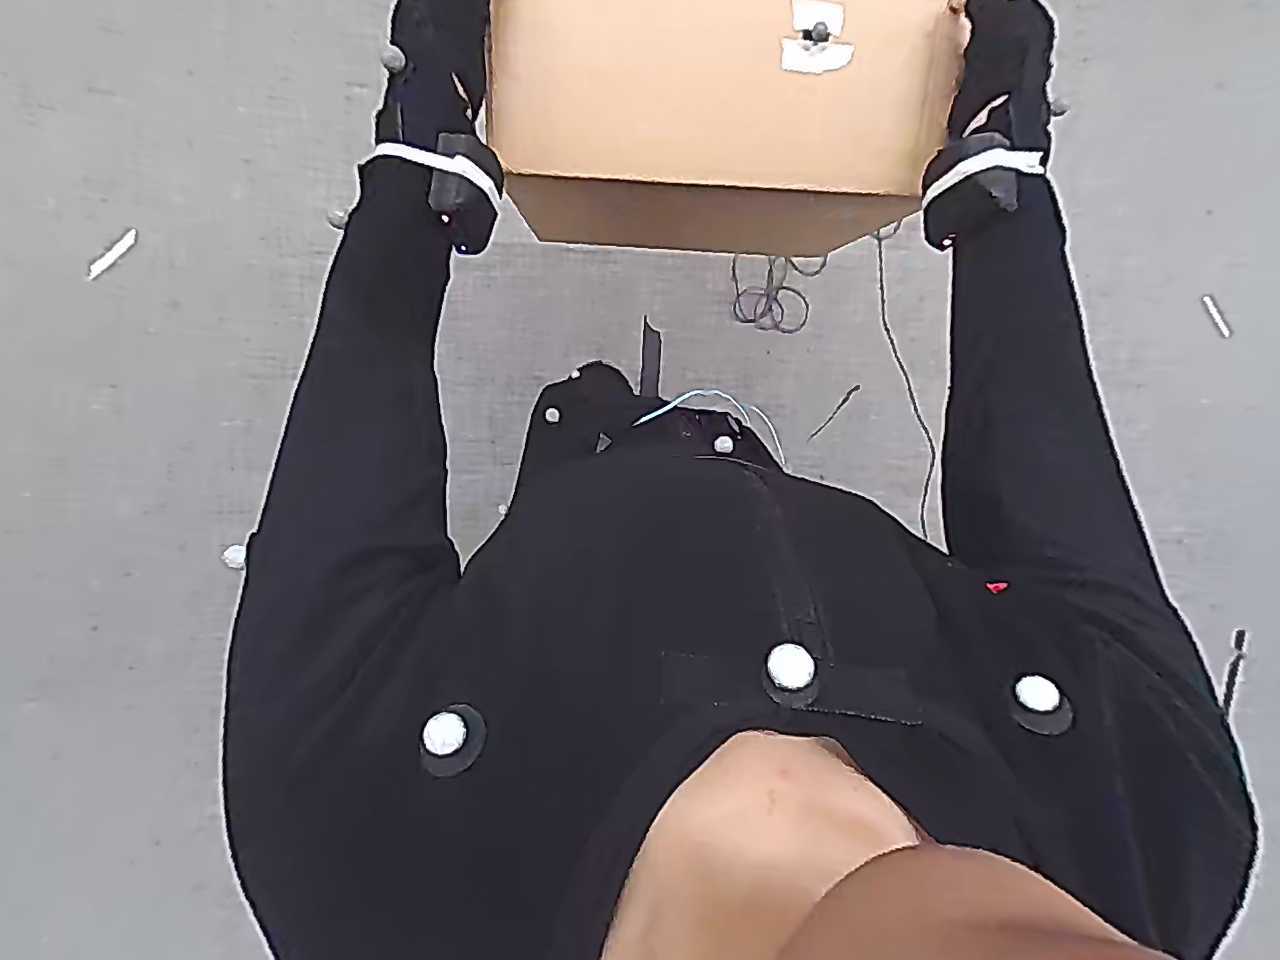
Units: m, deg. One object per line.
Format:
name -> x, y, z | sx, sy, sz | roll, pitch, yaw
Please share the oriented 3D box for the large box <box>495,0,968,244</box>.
large box -> 0.070, -0.455, 0.586 | 0.408, 0.320, 0.320 | 2, 104, -4
